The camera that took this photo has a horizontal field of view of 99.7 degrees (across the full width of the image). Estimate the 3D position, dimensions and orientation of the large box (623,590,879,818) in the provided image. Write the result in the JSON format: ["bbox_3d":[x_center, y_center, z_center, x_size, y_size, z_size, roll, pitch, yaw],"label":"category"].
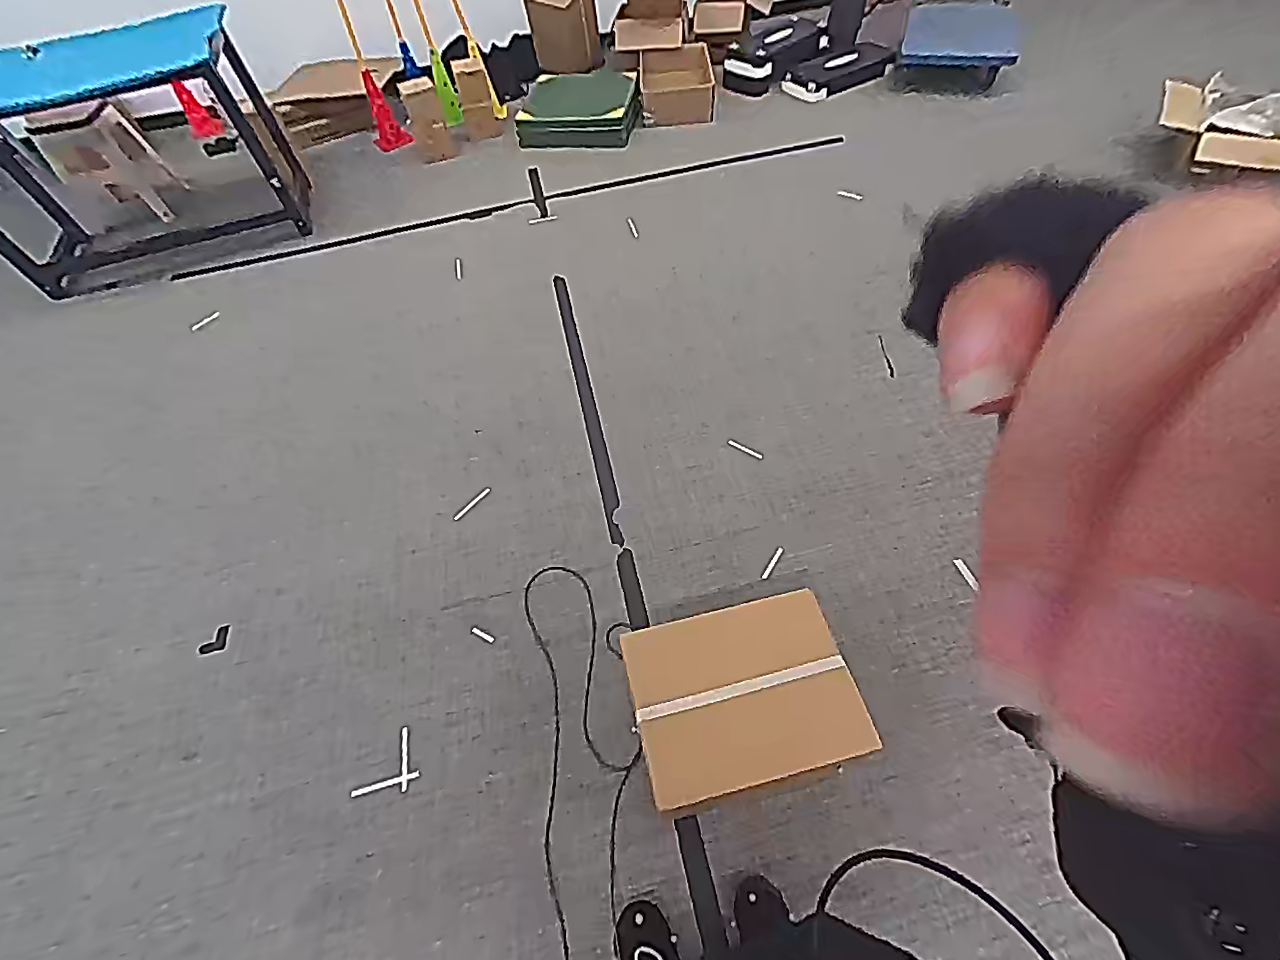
[{"bbox_3d":[0.202,0.473,1.129,0.408,0.320,0.320,-13,55,-5],"label":"large box"}]
